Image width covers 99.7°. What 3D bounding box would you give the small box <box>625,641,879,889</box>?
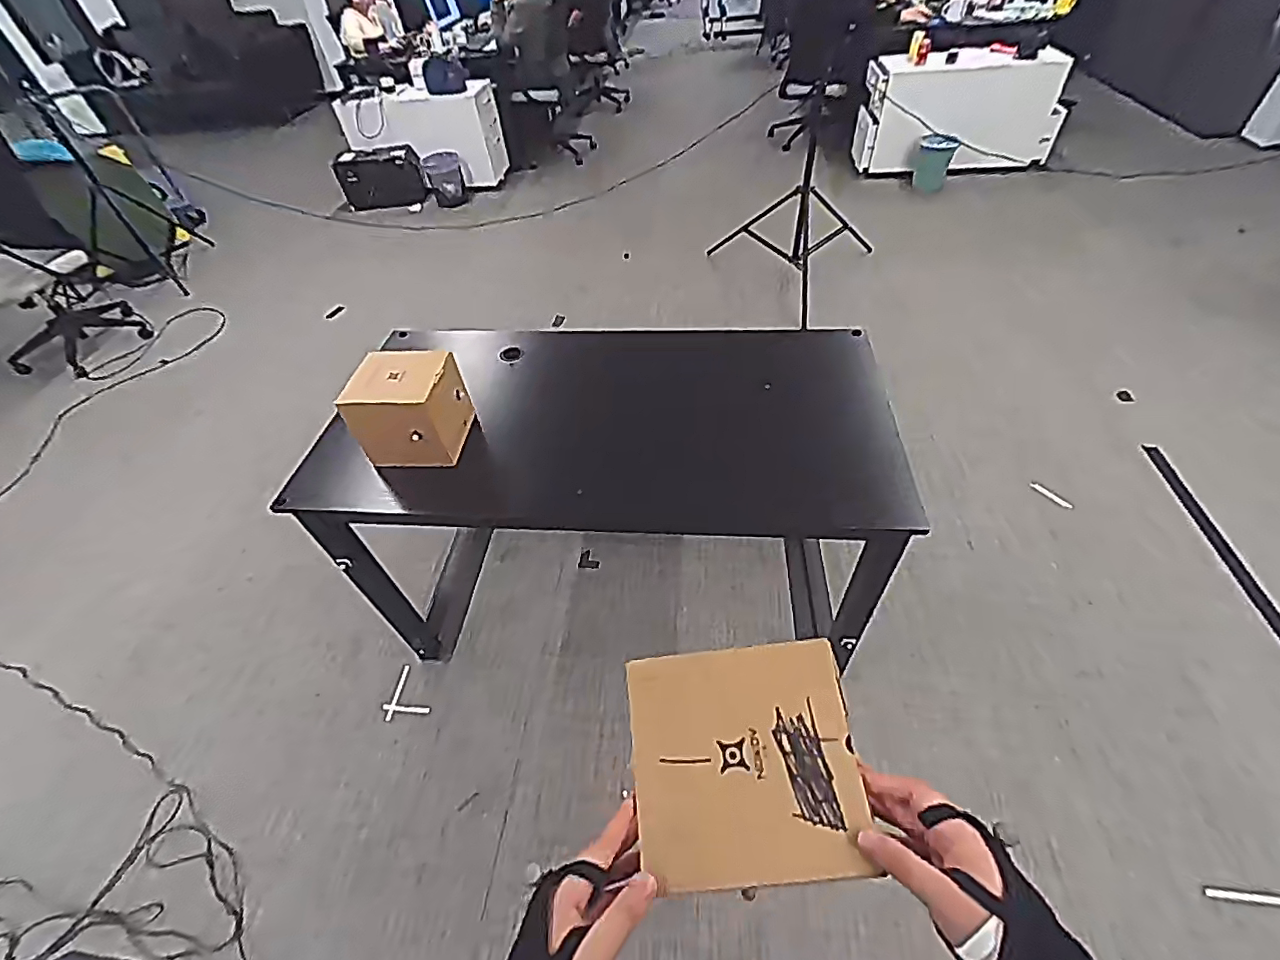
[{"bbox_3d":[0.086,0.255,0.493,0.179,0.176,0.168,-7,59,3],"label":"small box"}]

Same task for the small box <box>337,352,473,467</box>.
[{"bbox_3d":[-0.457,-0.139,1.088,0.179,0.176,0.168,-1,47,6],"label":"small box"}]
